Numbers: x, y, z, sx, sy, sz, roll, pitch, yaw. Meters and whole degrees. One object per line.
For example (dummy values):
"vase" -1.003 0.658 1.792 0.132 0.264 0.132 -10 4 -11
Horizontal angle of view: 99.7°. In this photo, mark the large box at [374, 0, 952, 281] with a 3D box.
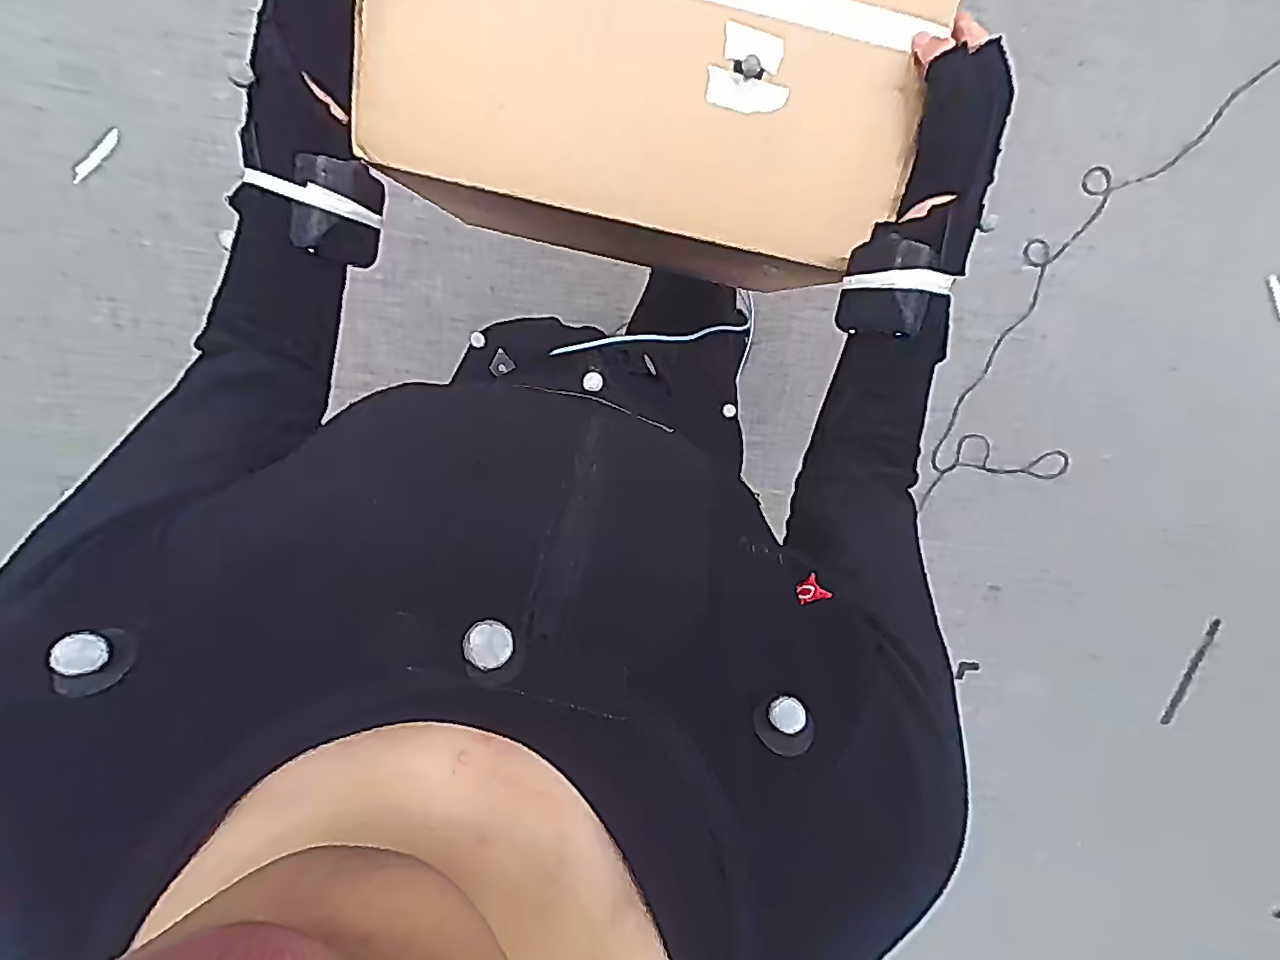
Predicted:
"large box" 0.013 -0.394 0.517 0.408 0.320 0.320 10 108 -7
